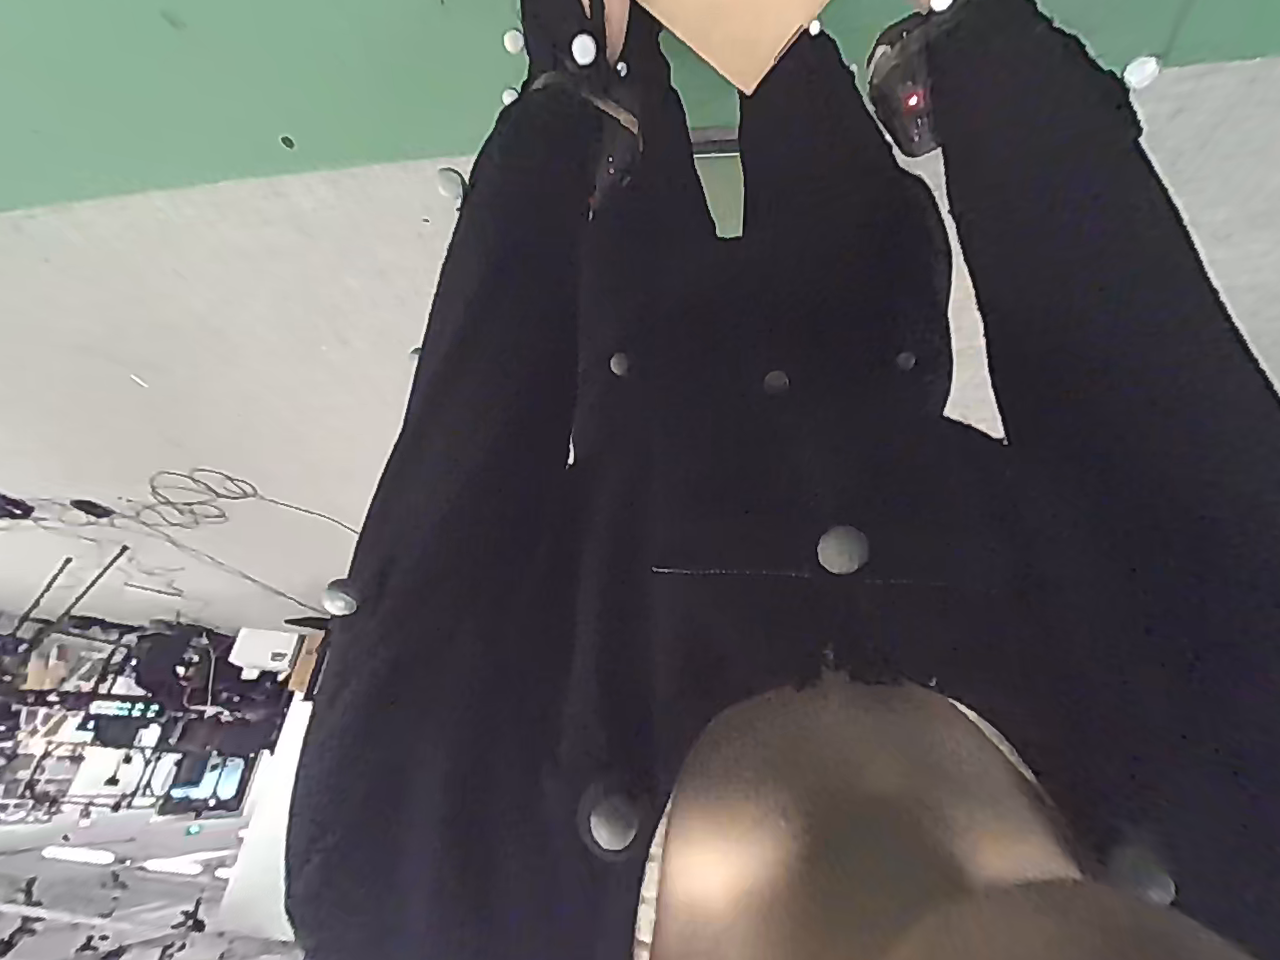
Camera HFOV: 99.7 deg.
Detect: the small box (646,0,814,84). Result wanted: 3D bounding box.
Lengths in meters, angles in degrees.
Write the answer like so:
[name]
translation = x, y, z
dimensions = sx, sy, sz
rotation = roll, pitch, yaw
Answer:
[small box]
translation = 0.067, -0.460, 0.398
dimensions = 0.179, 0.176, 0.168
rotation = 20, 145, -29
